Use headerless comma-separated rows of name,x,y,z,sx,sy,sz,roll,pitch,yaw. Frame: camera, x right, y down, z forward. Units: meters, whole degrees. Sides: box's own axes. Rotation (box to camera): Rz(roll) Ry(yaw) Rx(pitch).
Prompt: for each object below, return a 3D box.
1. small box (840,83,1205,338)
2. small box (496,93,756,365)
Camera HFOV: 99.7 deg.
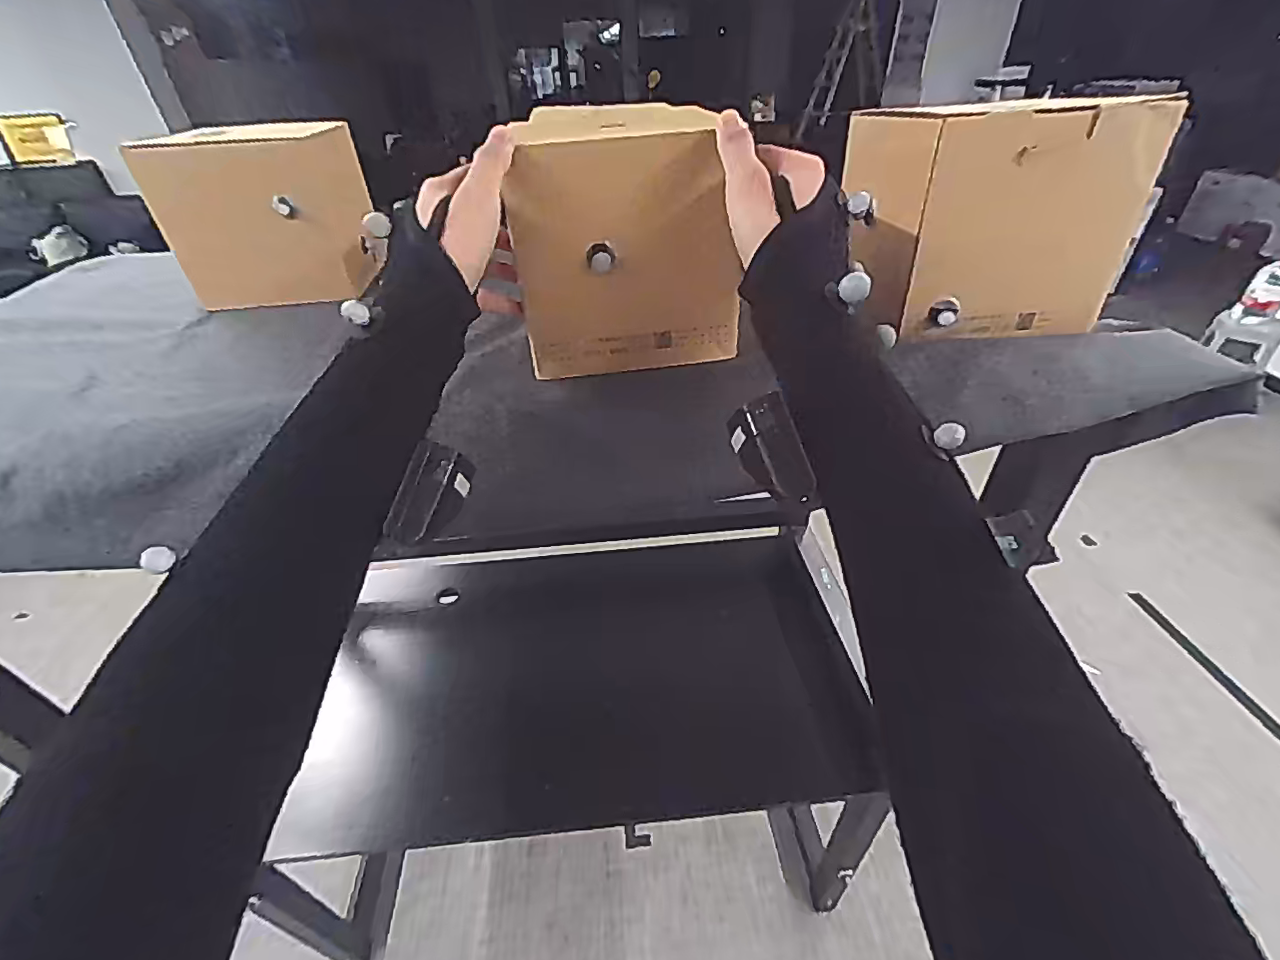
small box,0.288,-0.227,0.463,0.168,0.176,0.179,-4,34,0
small box,-0.011,-0.203,0.443,0.168,0.176,0.179,-7,38,-4
